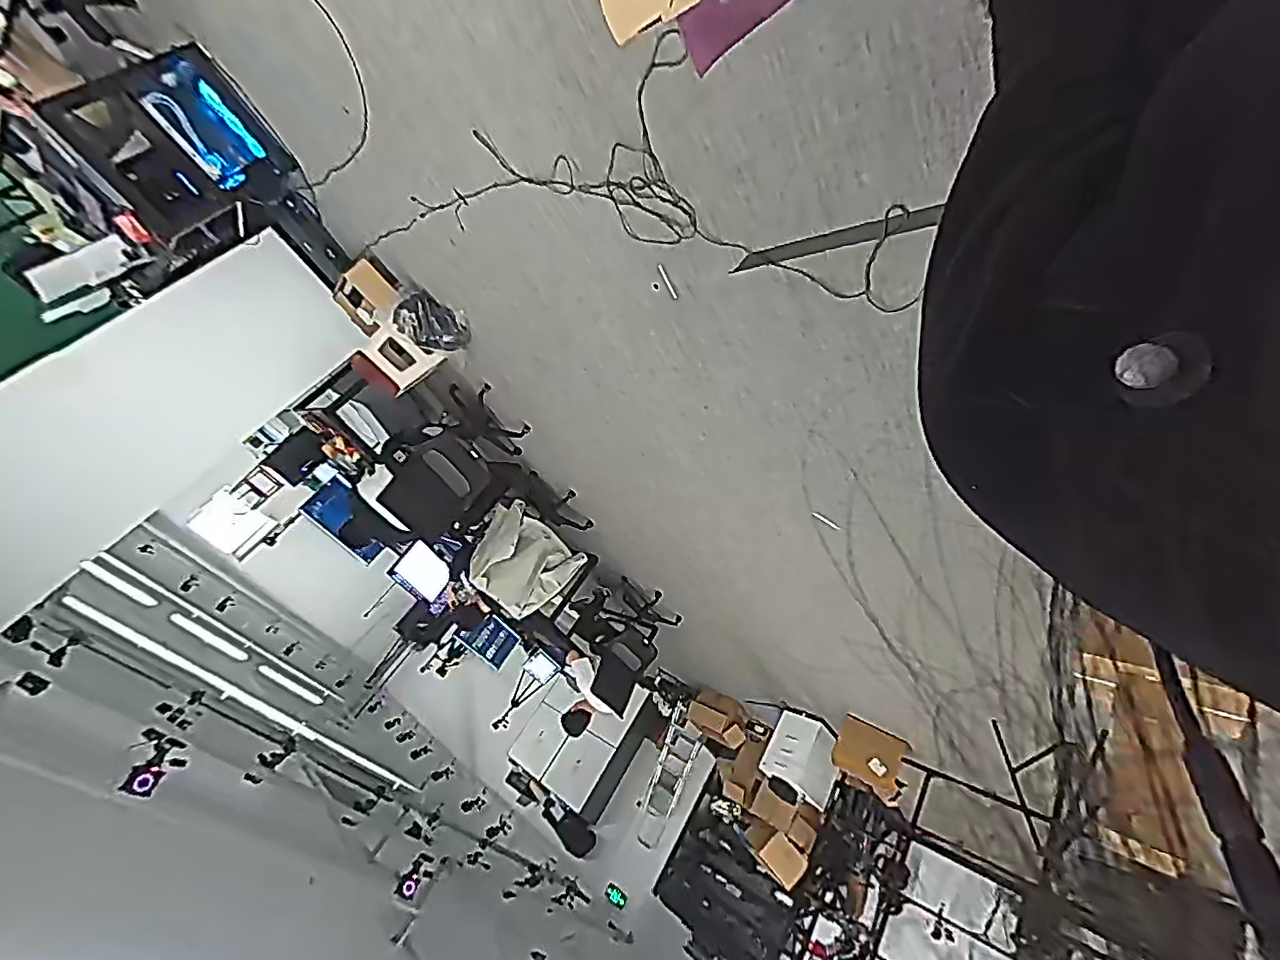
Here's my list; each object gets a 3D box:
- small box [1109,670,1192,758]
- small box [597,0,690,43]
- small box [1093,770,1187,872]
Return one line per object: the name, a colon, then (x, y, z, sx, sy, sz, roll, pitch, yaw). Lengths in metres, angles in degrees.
small box: (1.599, 0.726, 1.695, 0.179, 0.176, 0.168, 6, 140, 46)
small box: (0.038, -0.564, 0.497, 0.168, 0.176, 0.179, 6, 141, 44)
small box: (1.427, 0.963, 1.546, 0.179, 0.176, 0.168, 8, 142, 43)
